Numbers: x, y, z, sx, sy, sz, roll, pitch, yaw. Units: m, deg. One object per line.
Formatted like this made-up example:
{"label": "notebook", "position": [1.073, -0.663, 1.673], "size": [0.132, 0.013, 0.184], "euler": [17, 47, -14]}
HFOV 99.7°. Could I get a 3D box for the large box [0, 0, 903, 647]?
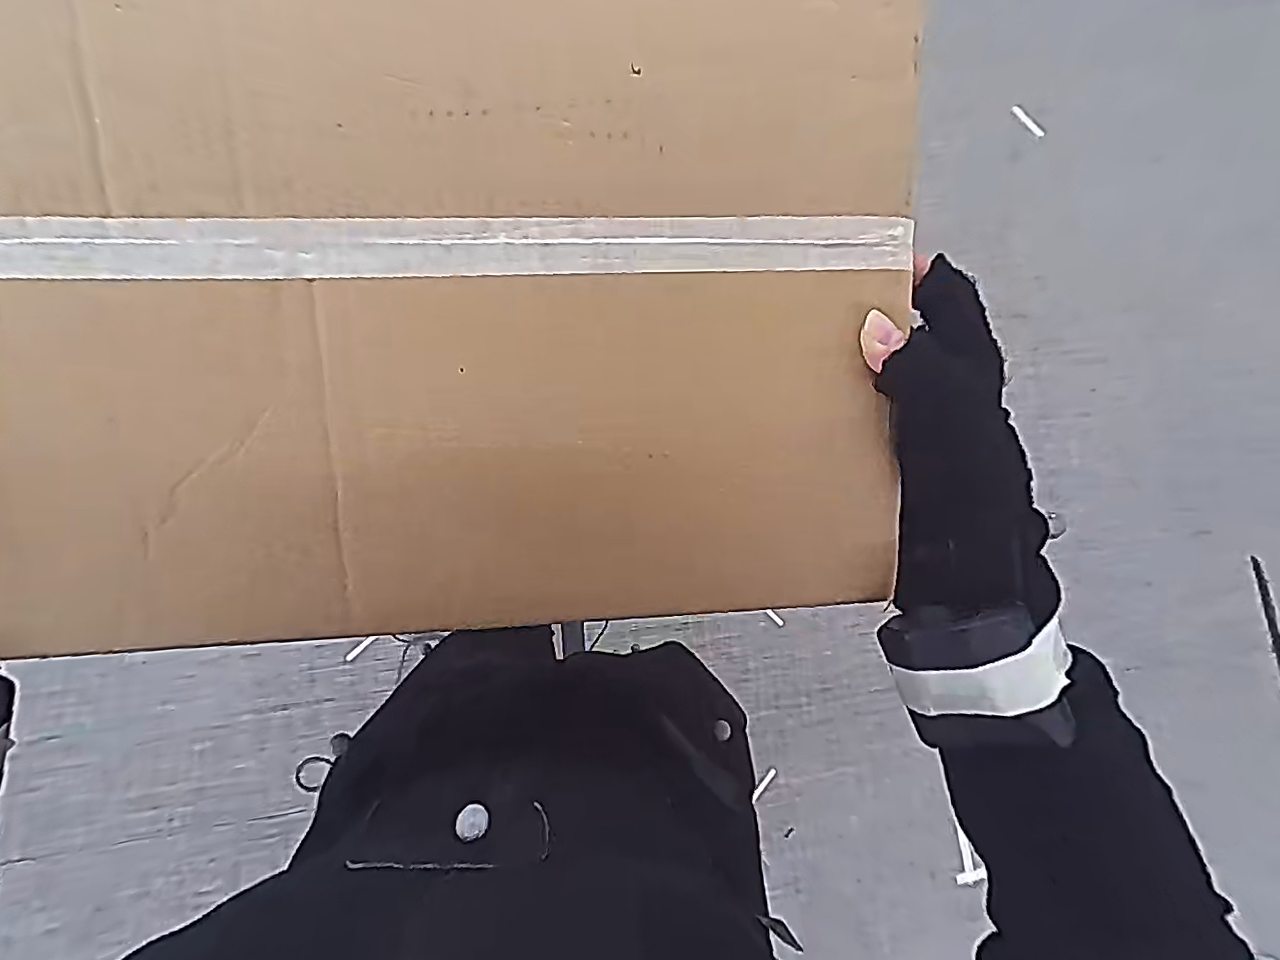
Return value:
{"label": "large box", "position": [-0.101, -0.113, 0.367], "size": [0.408, 0.320, 0.320], "euler": [-2, 99, -6]}
